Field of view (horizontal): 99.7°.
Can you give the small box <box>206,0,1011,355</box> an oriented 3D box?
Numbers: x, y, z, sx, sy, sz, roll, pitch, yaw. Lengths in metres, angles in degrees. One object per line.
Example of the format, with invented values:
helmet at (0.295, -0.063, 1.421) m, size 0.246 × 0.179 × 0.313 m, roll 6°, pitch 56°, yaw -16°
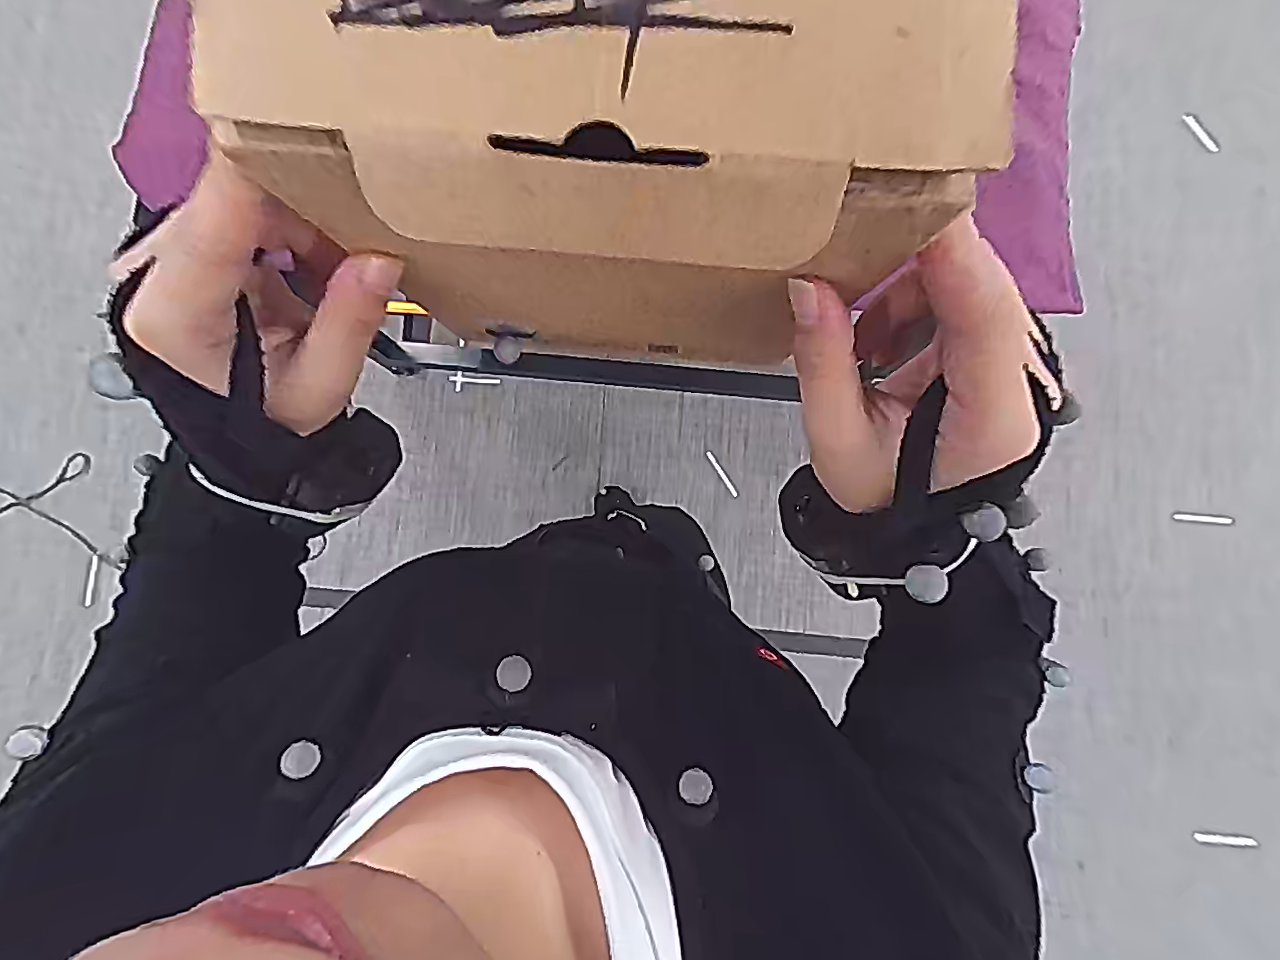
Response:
small box at (-0.001, -0.150, 0.191) m, size 0.168 × 0.176 × 0.179 m, roll 5°, pitch 90°, yaw 0°
